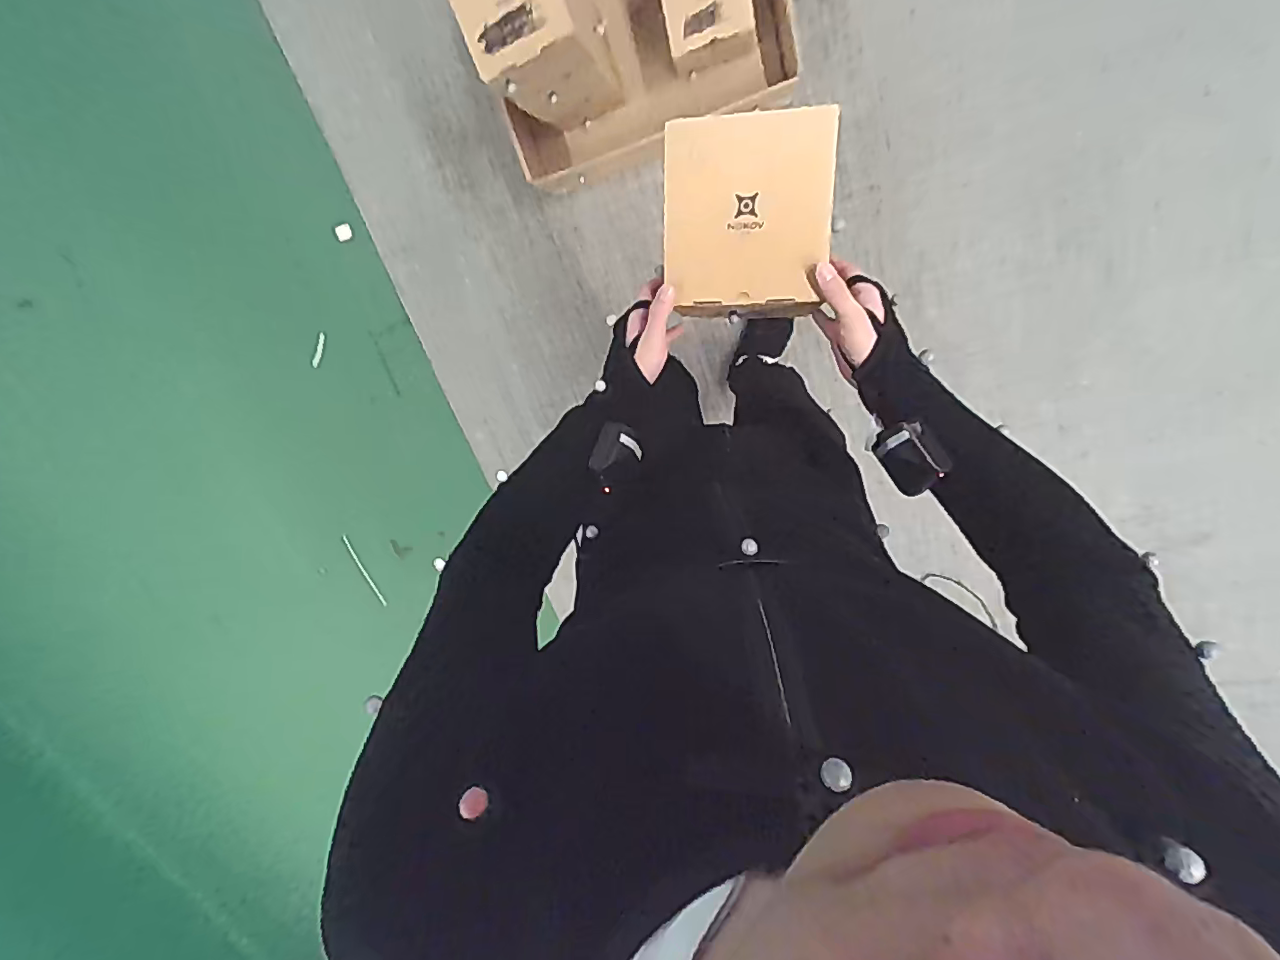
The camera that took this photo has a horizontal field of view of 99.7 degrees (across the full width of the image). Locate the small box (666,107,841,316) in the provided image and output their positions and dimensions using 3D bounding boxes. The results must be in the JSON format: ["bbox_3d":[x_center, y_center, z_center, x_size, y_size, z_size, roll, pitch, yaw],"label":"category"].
[{"bbox_3d":[0.120,-0.284,0.611,0.168,0.176,0.179,2,104,10],"label":"small box"}]

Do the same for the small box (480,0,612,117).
[{"bbox_3d":[-0.168,-0.823,1.014,0.168,0.176,0.179,-15,111,16],"label":"small box"}]
